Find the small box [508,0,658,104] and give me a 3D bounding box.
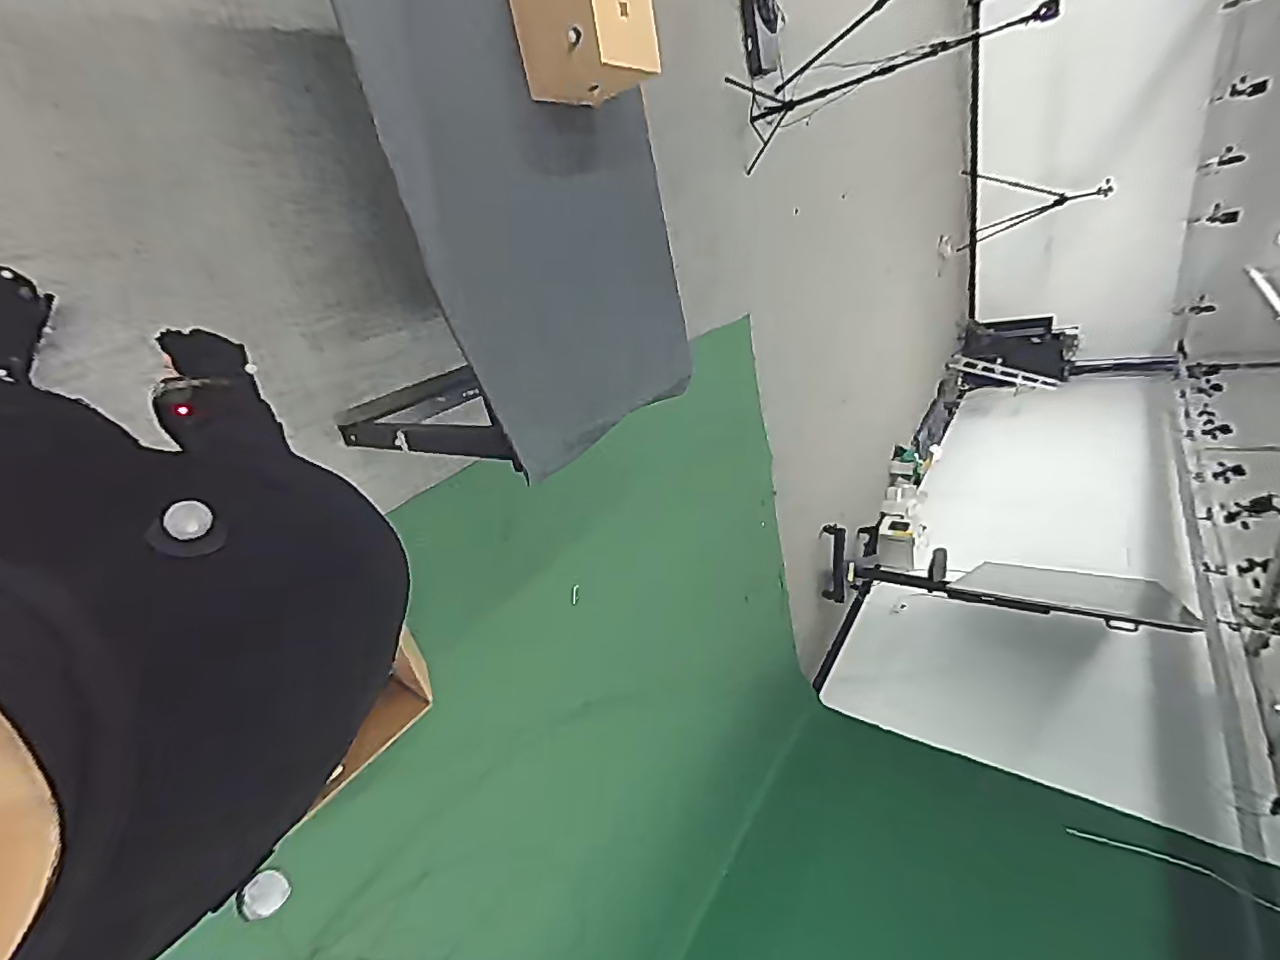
[{"bbox_3d":[-0.096,-0.757,0.903,0.168,0.176,0.179,-35,121,-44],"label":"small box"}]
